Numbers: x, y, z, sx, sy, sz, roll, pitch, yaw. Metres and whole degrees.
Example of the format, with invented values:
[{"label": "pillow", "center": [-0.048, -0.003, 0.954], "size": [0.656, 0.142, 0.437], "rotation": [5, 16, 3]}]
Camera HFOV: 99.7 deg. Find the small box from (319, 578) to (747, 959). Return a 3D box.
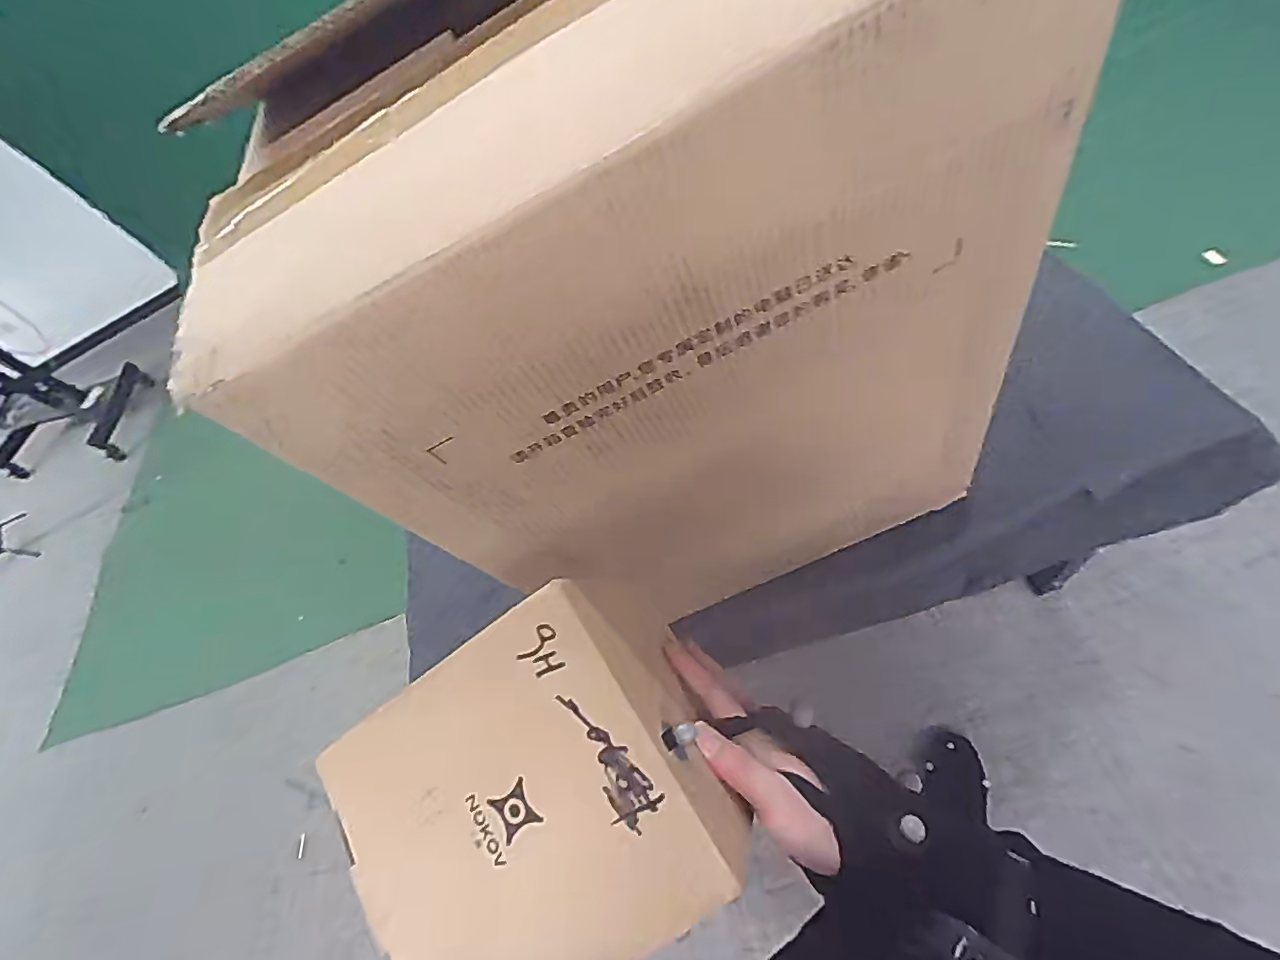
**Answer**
[{"label": "small box", "center": [-0.049, 0.180, 0.346], "size": [0.179, 0.176, 0.168], "rotation": [-36, 72, 6]}]
